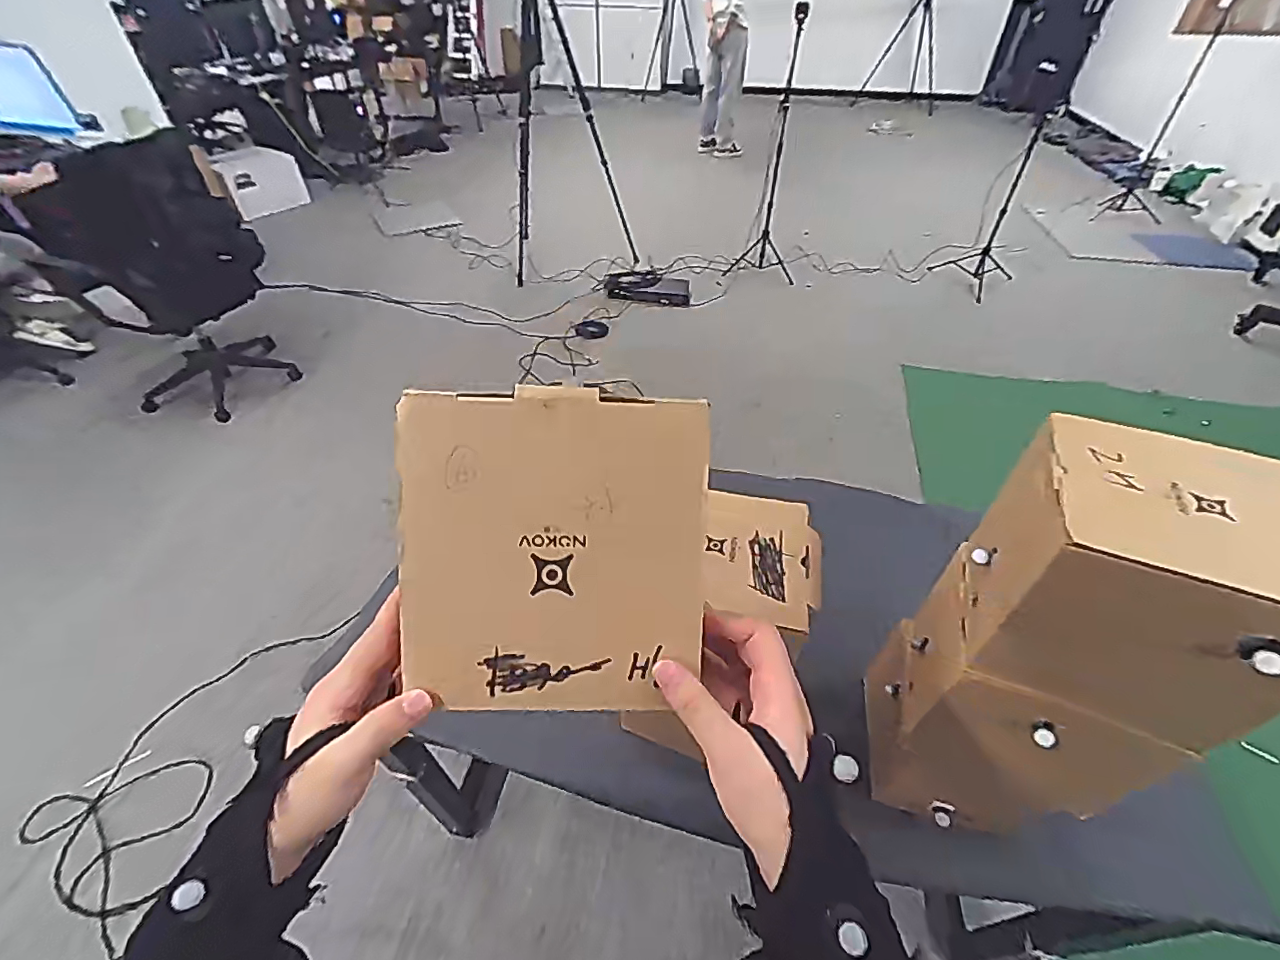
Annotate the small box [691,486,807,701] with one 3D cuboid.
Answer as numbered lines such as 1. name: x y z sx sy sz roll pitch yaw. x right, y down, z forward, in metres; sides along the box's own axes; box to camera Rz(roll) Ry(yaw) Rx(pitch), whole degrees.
1. small box: 0.082 0.127 0.615 0.179 0.176 0.168 9 44 10

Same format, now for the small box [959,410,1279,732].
1. small box: 0.390 0.074 0.438 0.179 0.176 0.168 18 46 19

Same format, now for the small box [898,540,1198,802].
1. small box: 0.387 0.195 0.550 0.179 0.176 0.168 16 46 18

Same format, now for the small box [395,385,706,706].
1. small box: -0.054 0.032 0.373 0.168 0.179 0.176 2 6 -3

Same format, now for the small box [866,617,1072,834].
1. small box: 0.390 0.303 0.672 0.168 0.176 0.179 9 45 10
